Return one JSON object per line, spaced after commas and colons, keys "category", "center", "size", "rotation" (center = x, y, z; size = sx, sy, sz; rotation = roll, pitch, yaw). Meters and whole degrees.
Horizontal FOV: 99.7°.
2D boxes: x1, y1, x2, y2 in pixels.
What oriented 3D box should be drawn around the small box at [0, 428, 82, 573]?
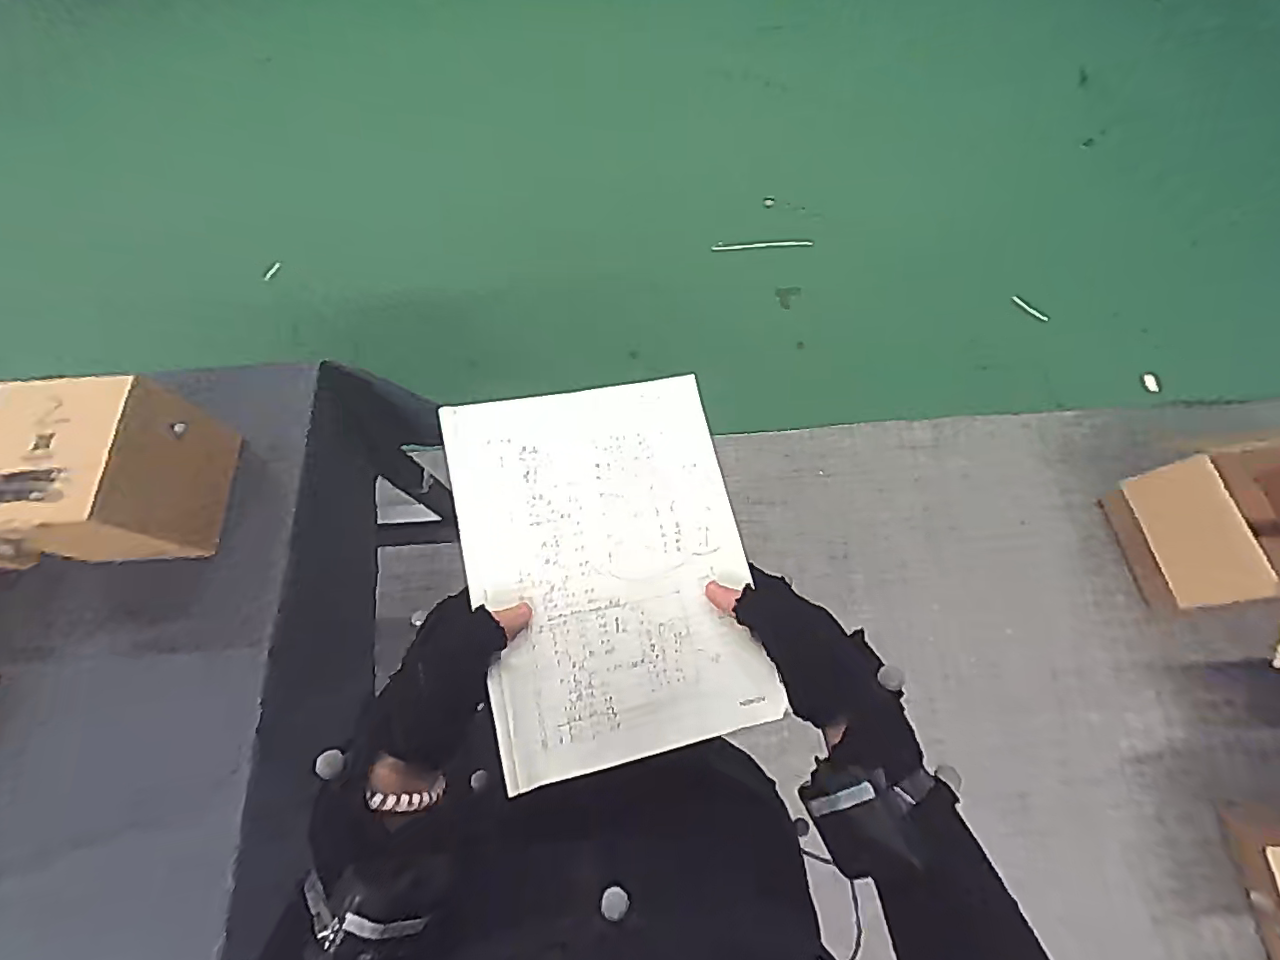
{"category": "small box", "center": [-0.881, 0.021, 0.671], "size": [0.179, 0.176, 0.168], "rotation": [-1, 70, 2]}
